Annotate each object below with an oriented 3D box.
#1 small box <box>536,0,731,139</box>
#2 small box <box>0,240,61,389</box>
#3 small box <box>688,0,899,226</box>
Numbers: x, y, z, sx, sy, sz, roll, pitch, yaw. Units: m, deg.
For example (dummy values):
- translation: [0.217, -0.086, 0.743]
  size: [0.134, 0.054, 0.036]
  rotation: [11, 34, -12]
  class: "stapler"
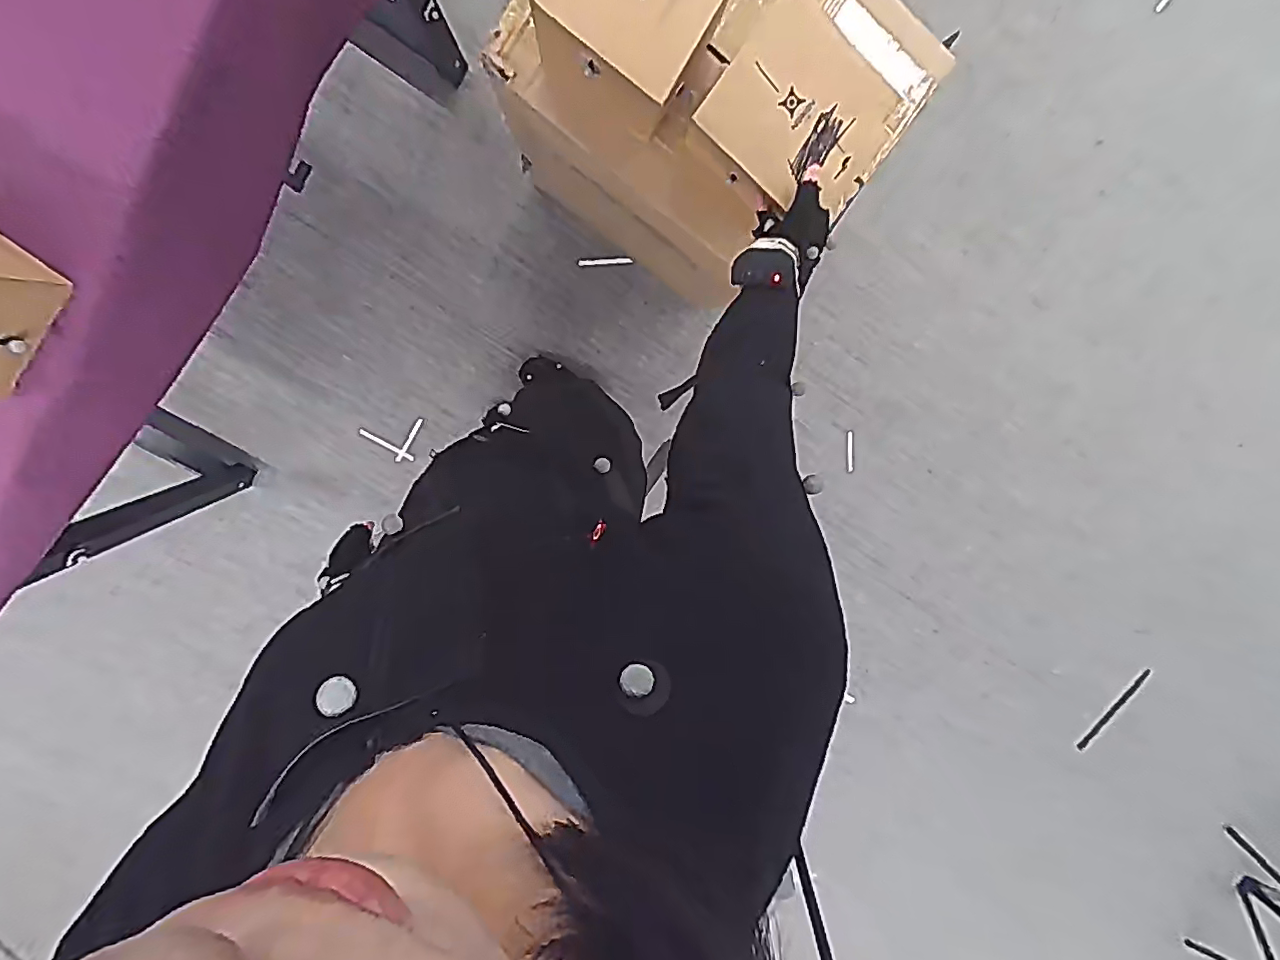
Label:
- translation: [-0.008, -0.556, 0.652]
  size: [0.179, 0.176, 0.168]
  rotation: [32, 102, -13]
  class: "small box"
- translation: [-0.789, -0.202, 0.565]
  size: [0.168, 0.176, 0.179]
  rotation: [38, 97, -12]
  class: "small box"
- translation: [0.178, -0.448, 0.683]
  size: [0.179, 0.176, 0.168]
  rotation: [38, 108, -12]
  class: "small box"
